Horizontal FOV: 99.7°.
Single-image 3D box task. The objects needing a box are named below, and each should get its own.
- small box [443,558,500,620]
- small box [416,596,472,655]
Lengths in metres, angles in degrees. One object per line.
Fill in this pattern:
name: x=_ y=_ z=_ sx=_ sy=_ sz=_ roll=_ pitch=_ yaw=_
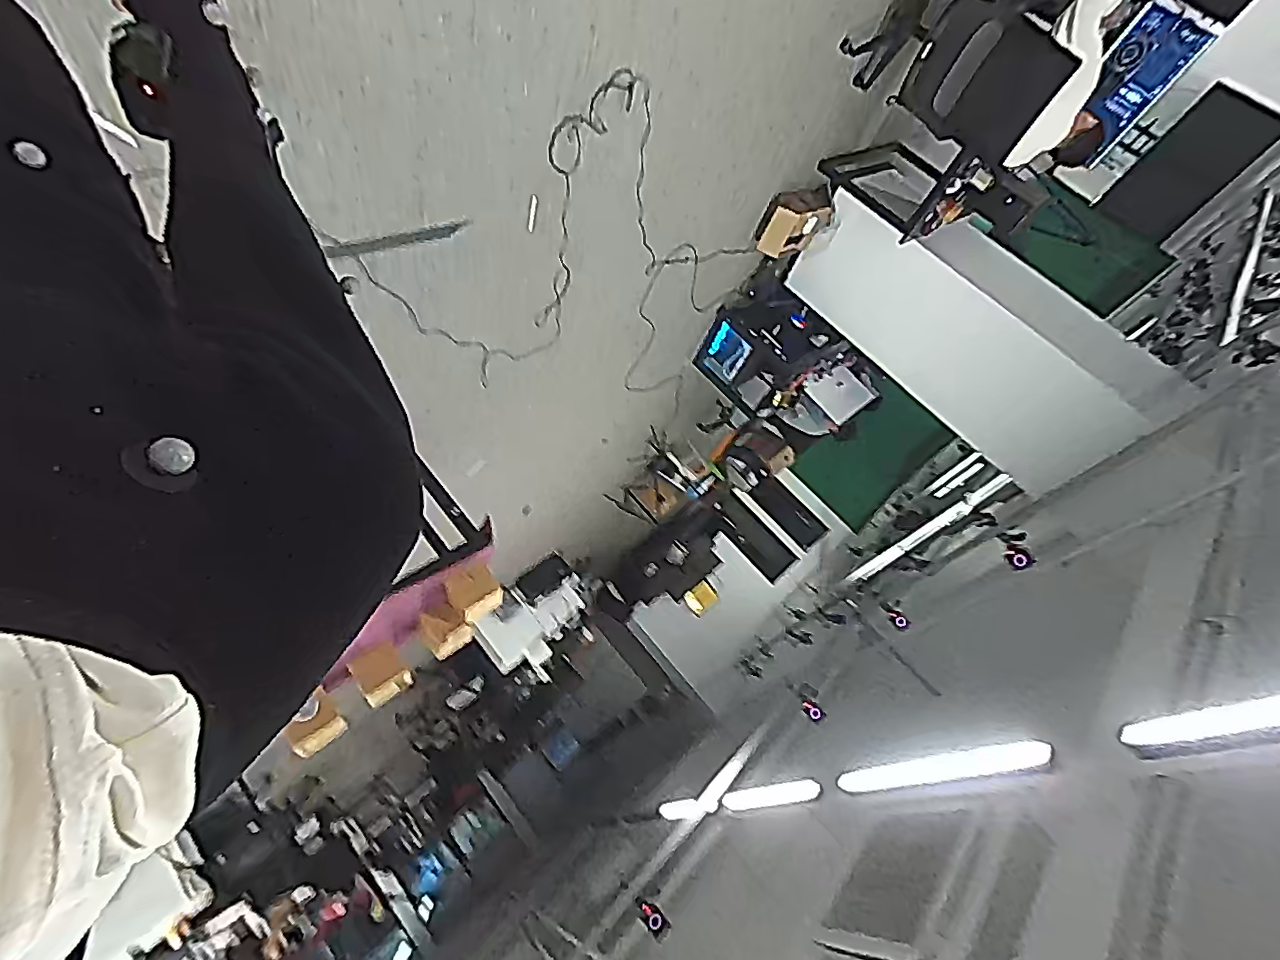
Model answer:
small box: x=-0.712 y=0.455 z=2.280 sx=0.168 sy=0.176 sz=0.179 roll=-32 pitch=162 yaw=-30
small box: x=-0.869 y=0.635 z=2.389 sx=0.168 sy=0.176 sz=0.179 roll=-30 pitch=161 yaw=-40
